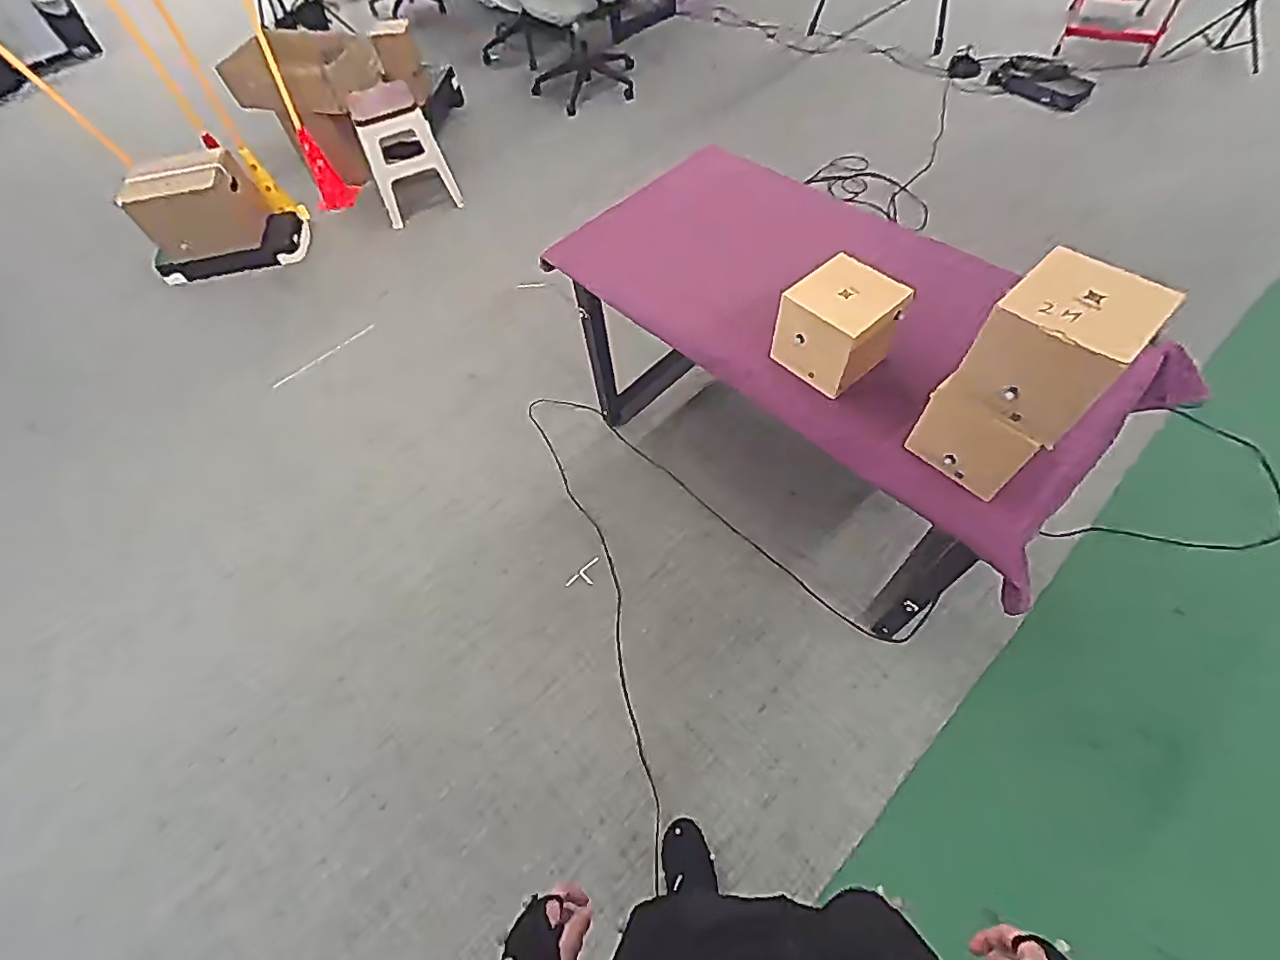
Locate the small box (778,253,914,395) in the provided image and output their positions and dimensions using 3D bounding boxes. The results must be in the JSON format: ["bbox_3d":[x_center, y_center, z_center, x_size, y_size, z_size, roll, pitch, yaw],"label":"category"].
[{"bbox_3d":[0.387,-0.299,1.052,0.179,0.176,0.168,-37,62,-18],"label":"small box"}]

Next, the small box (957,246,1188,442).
[{"bbox_3d":[0.594,-0.190,0.769,0.179,0.176,0.168,-39,62,-18],"label":"small box"}]
